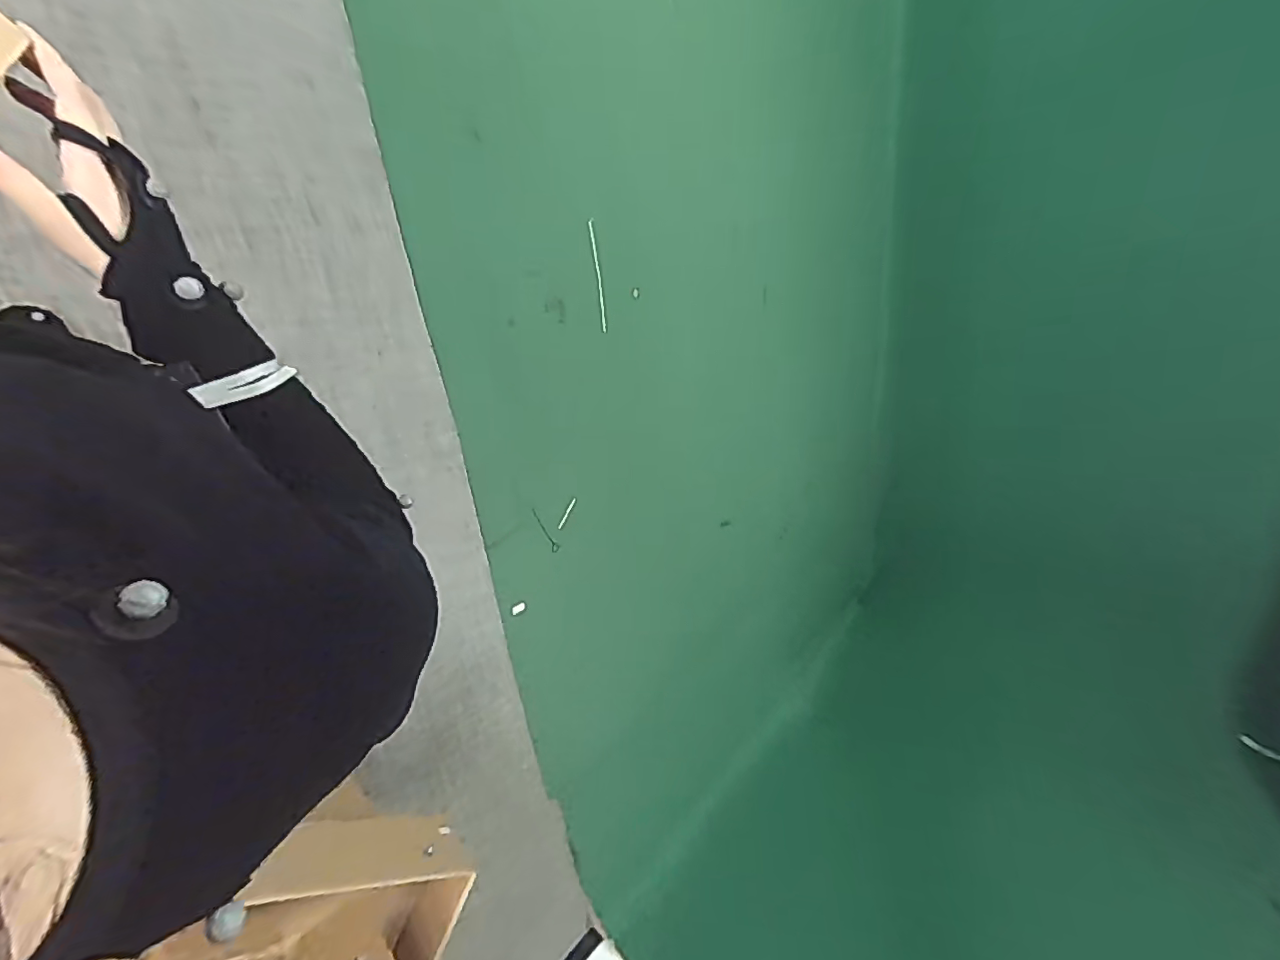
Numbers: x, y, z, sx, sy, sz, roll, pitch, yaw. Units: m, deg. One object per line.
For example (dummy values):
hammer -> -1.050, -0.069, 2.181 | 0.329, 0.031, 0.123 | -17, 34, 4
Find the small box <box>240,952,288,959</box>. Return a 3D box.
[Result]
small box -> -0.613, 0.841, 0.785 | 0.168, 0.176, 0.179 | 32, 79, -47
